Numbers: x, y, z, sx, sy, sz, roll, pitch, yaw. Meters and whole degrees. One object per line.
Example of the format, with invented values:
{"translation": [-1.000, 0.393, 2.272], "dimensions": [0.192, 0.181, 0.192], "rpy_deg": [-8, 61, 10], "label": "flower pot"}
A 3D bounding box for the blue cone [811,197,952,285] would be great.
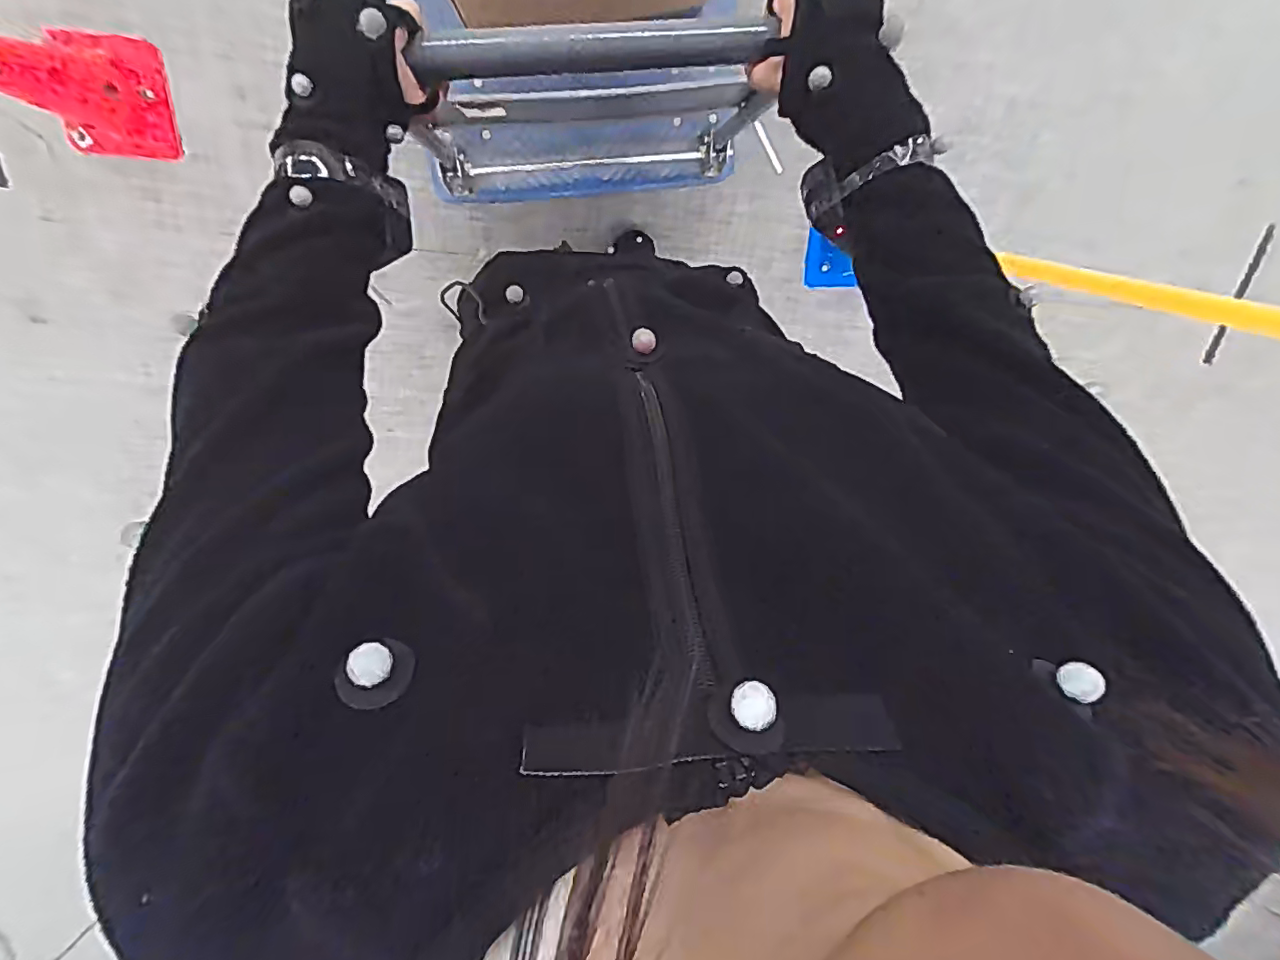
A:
{"translation": [0.527, -0.507, 1.151], "dimensions": [0.193, 0.380, 0.192], "rpy_deg": [-2, 113, -7], "label": "blue cone"}
